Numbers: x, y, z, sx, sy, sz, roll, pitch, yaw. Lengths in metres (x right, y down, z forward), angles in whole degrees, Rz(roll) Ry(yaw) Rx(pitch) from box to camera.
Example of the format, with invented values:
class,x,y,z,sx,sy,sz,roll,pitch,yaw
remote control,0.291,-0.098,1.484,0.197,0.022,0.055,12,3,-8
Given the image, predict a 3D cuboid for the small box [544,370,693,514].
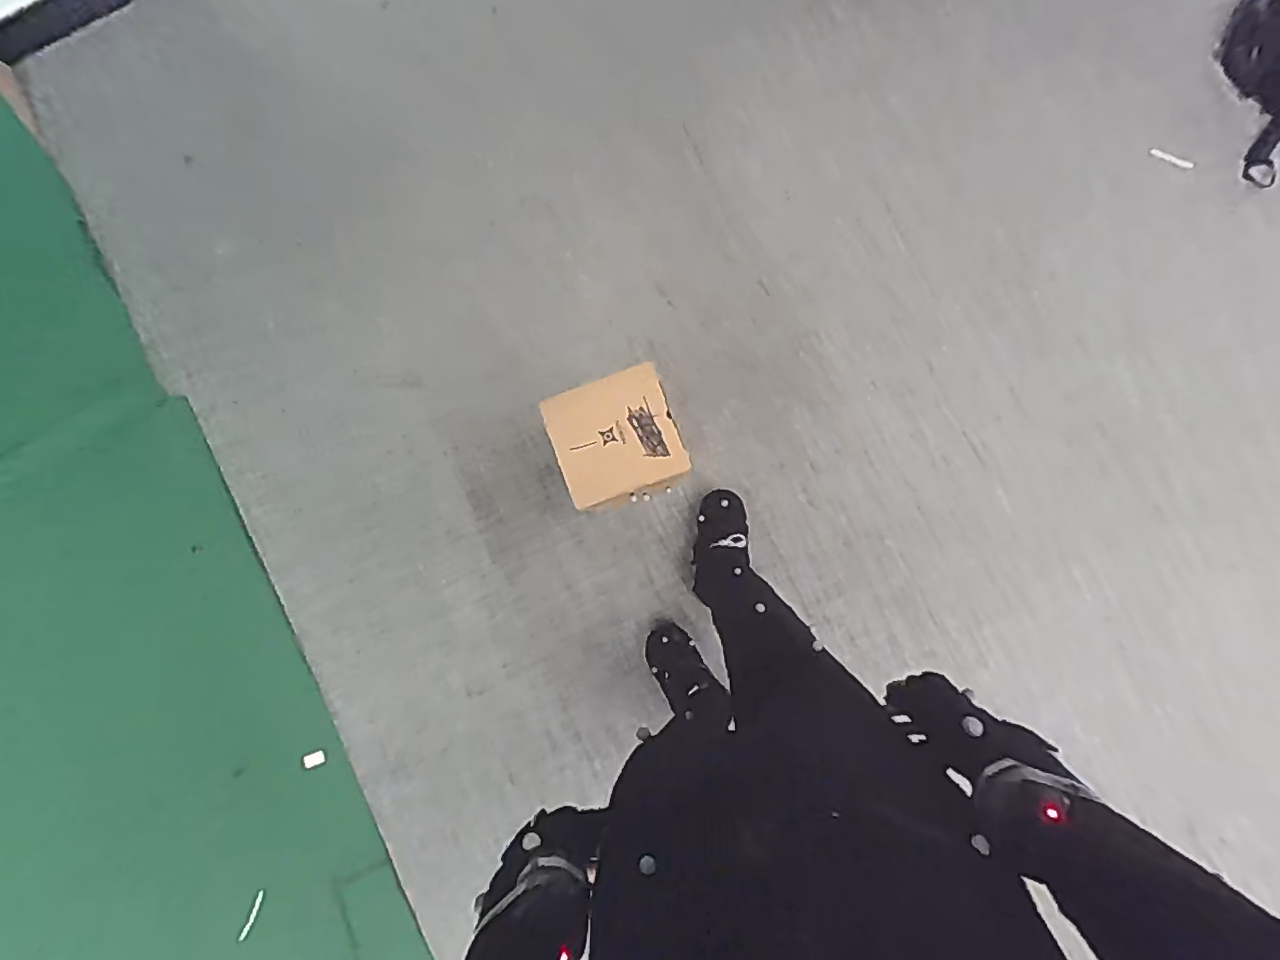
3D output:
class,x,y,z,sx,sy,sz,roll,pitch,yaw
small box,-0.028,-0.053,0.844,0.179,0.176,0.168,-19,87,3
